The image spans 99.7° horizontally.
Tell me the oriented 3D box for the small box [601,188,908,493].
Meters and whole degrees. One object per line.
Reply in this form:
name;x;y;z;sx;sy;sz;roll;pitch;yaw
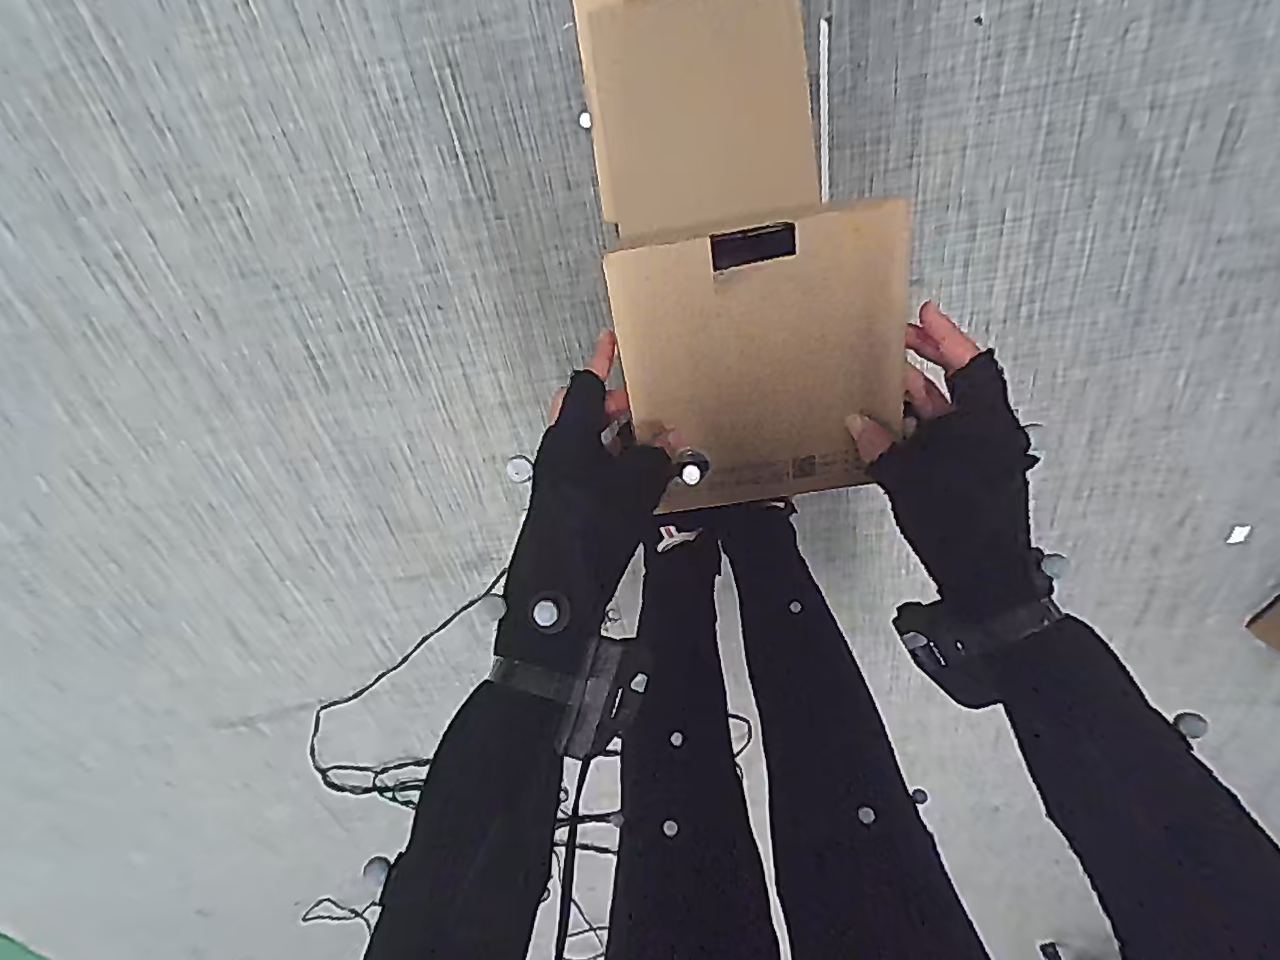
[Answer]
small box;0.075;-0.100;0.392;0.168;0.179;0.176;-8;118;5
